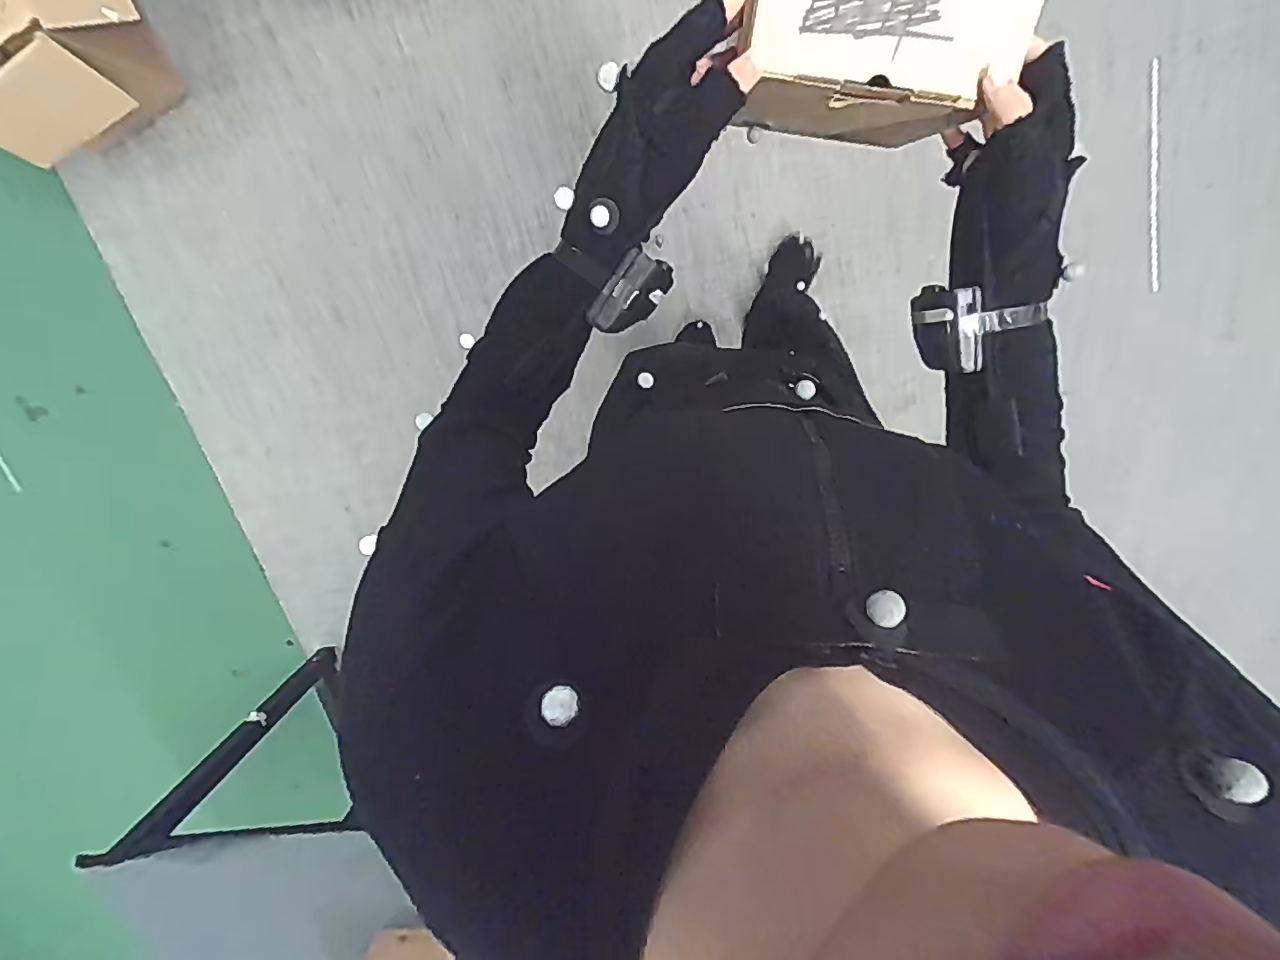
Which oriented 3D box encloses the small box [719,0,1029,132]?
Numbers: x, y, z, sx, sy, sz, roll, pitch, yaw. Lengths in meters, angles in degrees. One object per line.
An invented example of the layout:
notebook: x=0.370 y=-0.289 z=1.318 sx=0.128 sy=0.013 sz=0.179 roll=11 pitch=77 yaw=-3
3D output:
small box: x=0.152 y=-0.358 z=0.369 sx=0.168 sy=0.176 sz=0.179 roll=6 pitch=113 yaw=-2
